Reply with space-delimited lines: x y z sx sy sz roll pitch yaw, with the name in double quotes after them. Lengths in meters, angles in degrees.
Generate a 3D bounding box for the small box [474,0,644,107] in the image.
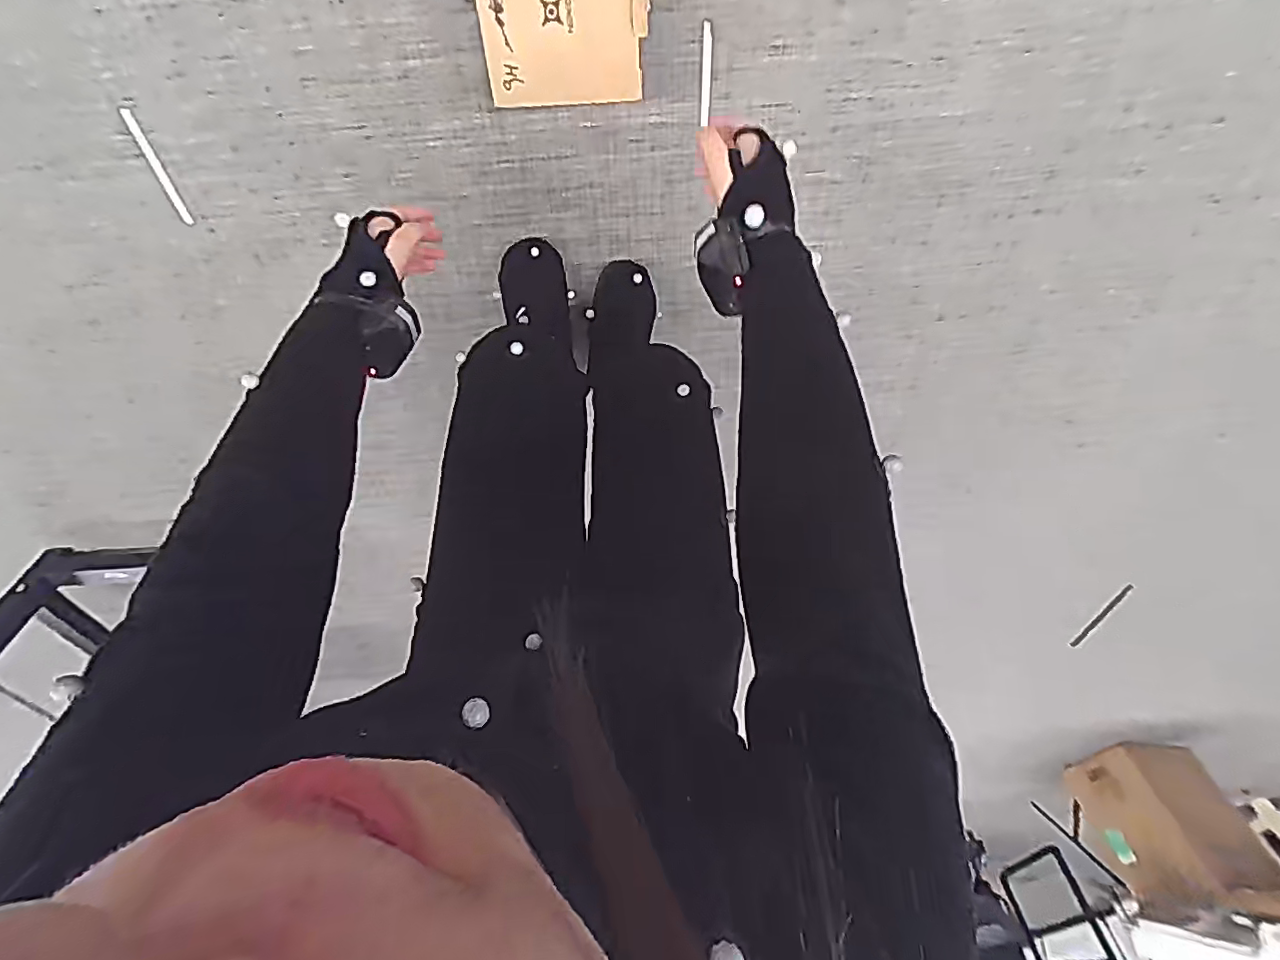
-0.091 -0.544 0.620 0.179 0.176 0.168 -4 134 -3 "small box"
